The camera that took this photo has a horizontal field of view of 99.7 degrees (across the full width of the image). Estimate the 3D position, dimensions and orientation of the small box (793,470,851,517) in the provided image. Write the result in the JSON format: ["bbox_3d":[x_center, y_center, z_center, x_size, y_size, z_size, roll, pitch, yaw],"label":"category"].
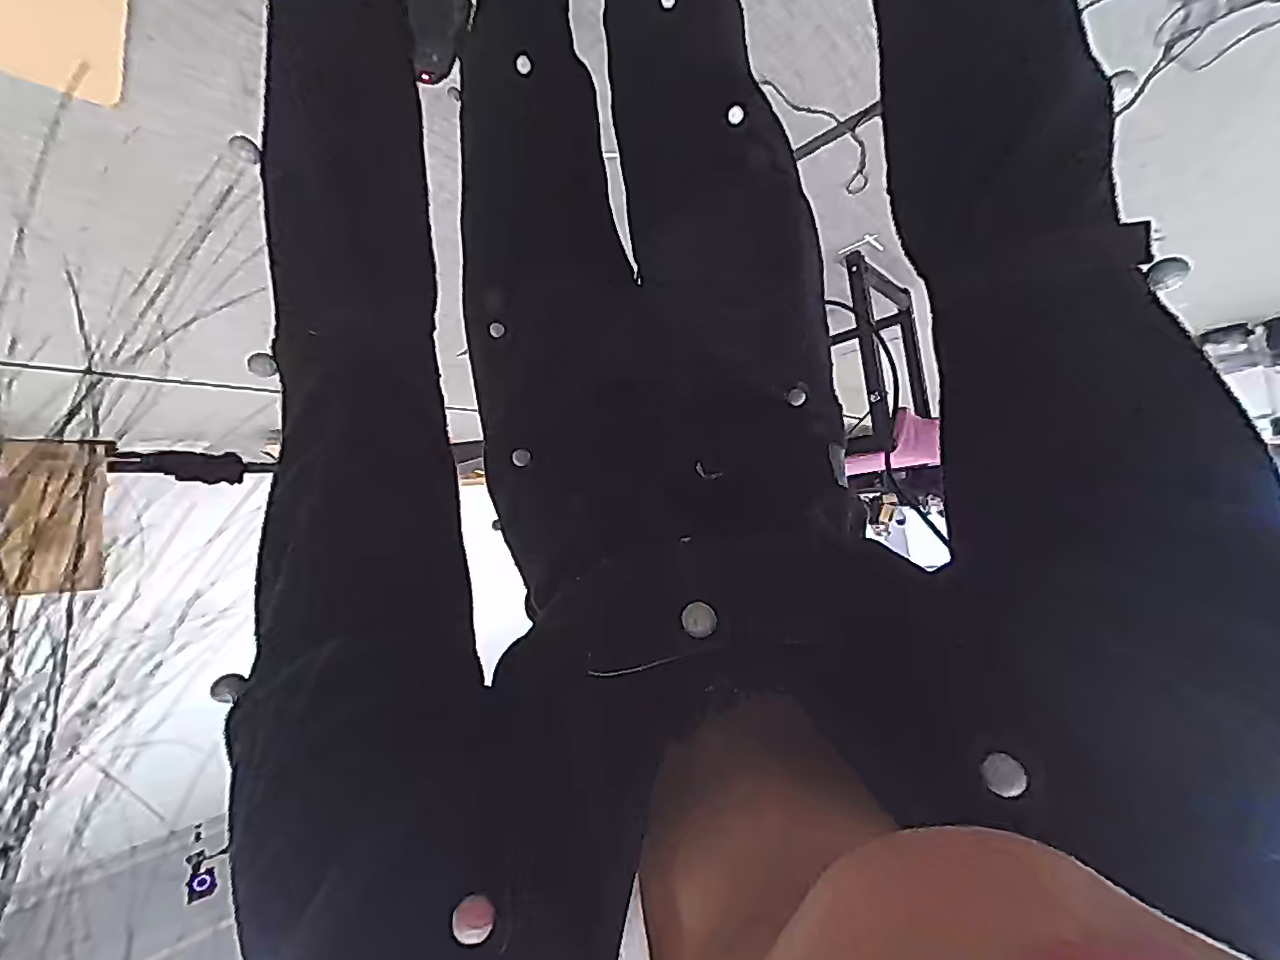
[{"bbox_3d":[0.733,0.056,2.192,0.179,0.176,0.168,-12,173,38],"label":"small box"}]
